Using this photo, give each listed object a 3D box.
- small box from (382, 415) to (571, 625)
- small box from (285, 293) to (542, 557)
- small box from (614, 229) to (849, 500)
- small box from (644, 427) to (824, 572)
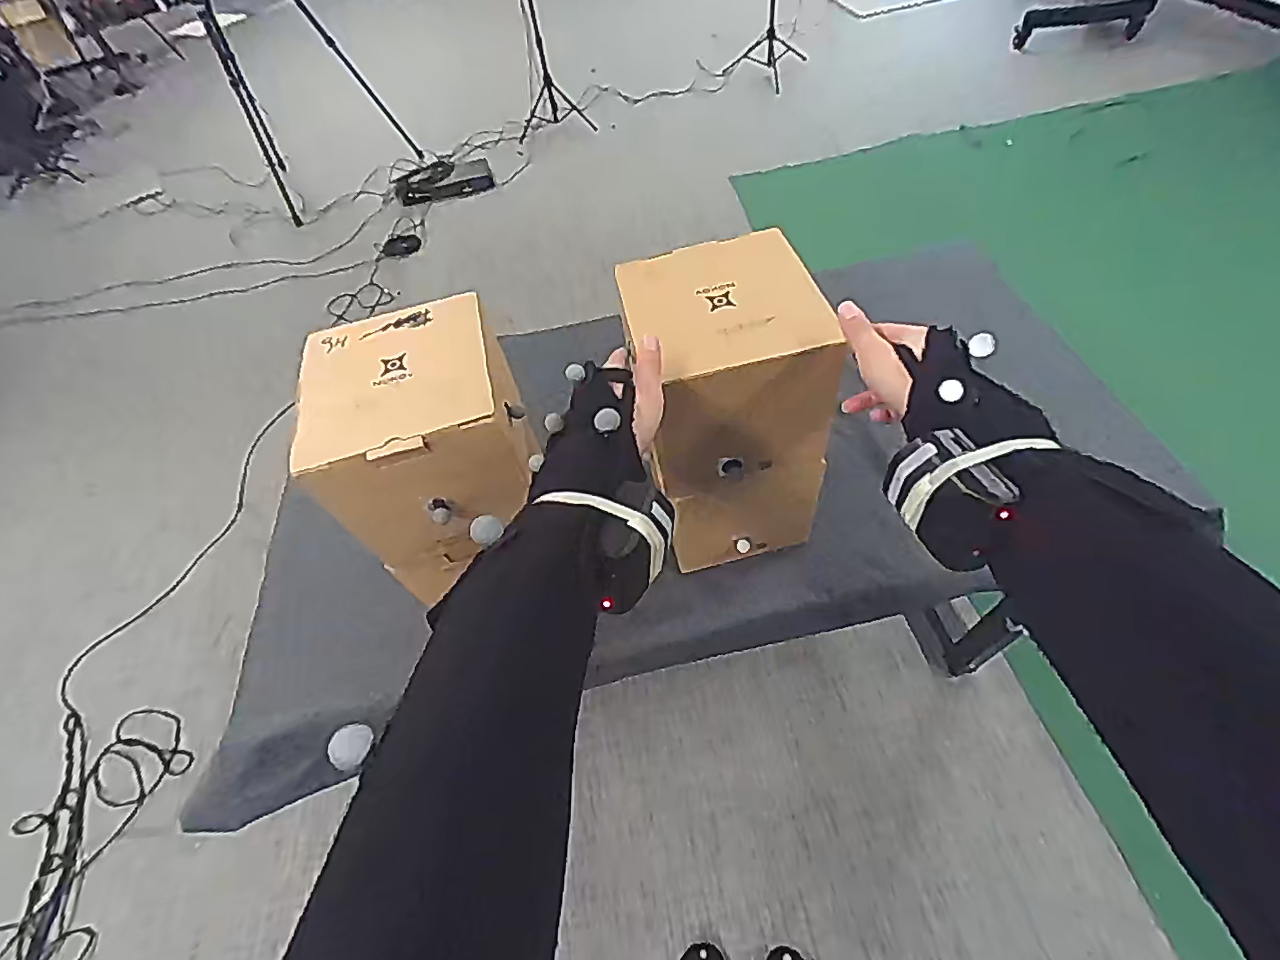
[{"bbox_3d":[-0.191,0.051,0.659,0.168,0.176,0.179,-15,54,-3],"label":"small box"},{"bbox_3d":[-0.204,-0.043,0.525,0.168,0.176,0.179,-17,55,-4],"label":"small box"},{"bbox_3d":[0.078,-0.108,0.529,0.168,0.176,0.179,-14,54,0],"label":"small box"},{"bbox_3d":[0.101,-0.015,0.660,0.168,0.176,0.179,-14,54,-2],"label":"small box"}]
